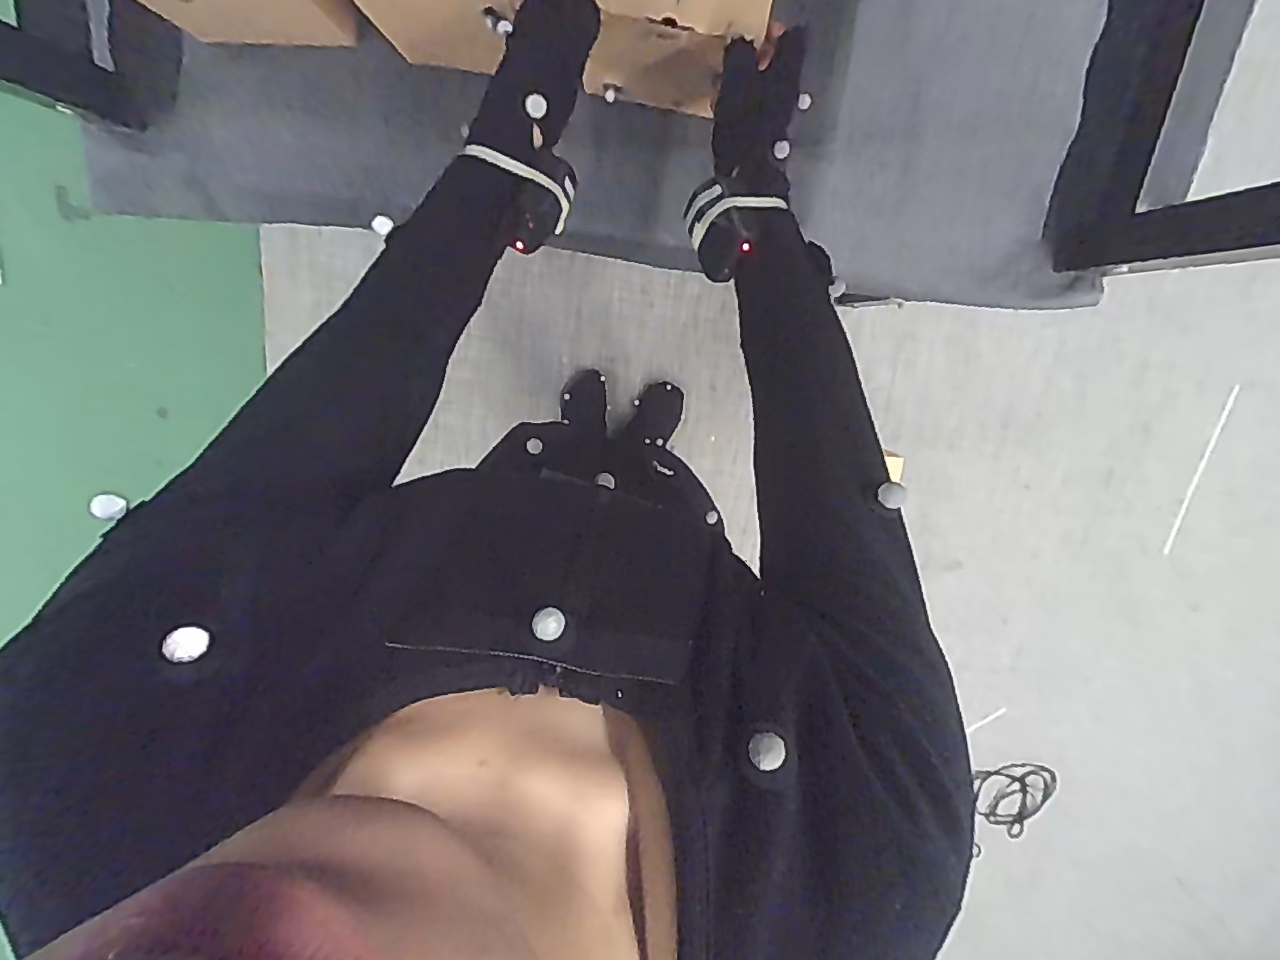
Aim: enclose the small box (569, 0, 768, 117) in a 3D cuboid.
[{"bbox_3d":[0.034,-0.476,0.505,0.168,0.176,0.179,9,104,-4],"label":"small box"}]
